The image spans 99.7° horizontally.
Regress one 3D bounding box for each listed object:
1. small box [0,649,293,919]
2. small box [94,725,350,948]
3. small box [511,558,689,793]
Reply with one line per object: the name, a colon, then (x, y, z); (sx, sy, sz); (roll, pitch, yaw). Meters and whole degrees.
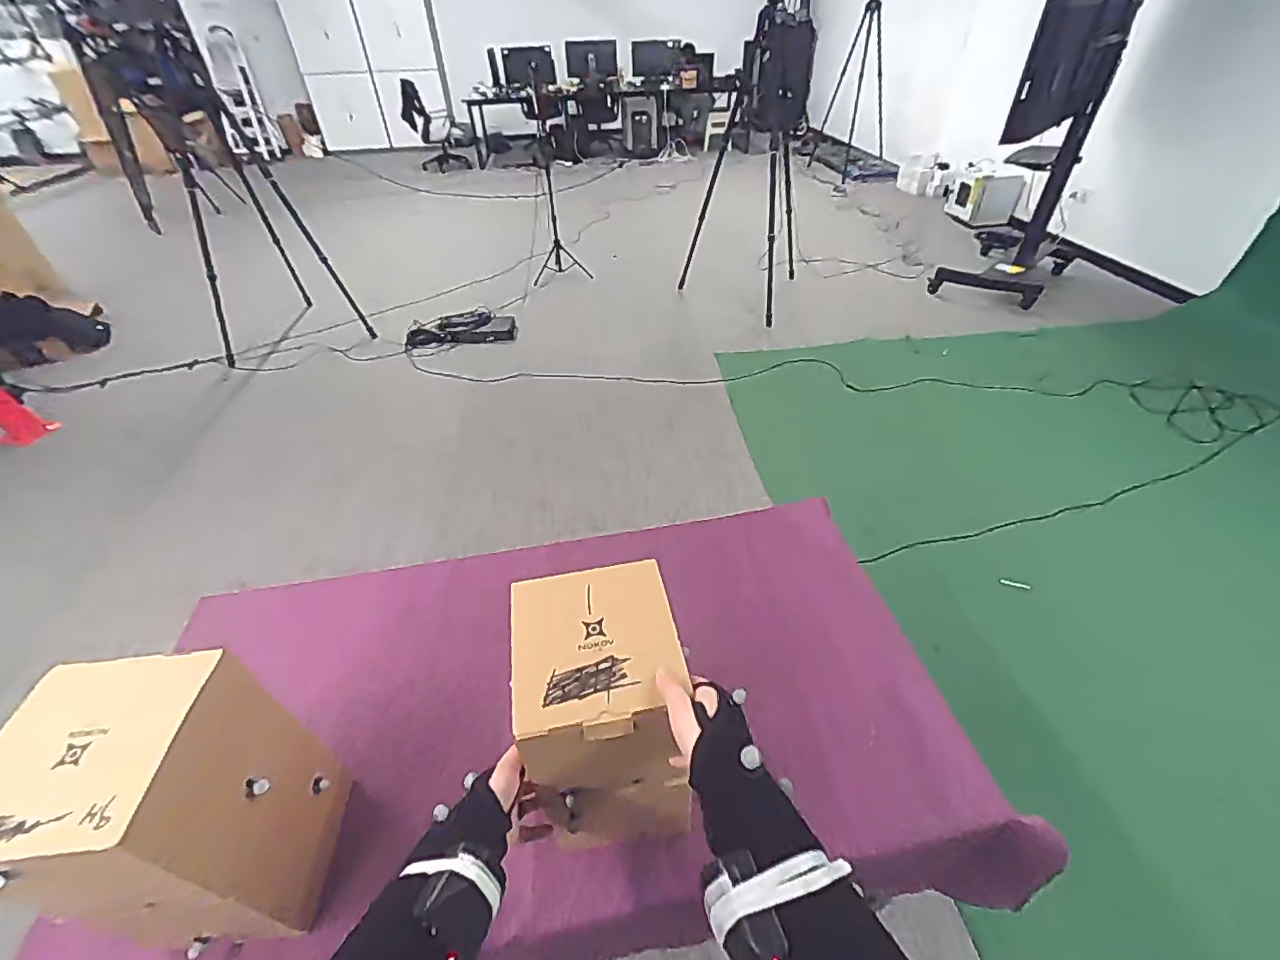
small box: (-0.482, 0.296, 0.533); (0.168, 0.176, 0.179); (-6, 40, -1)
small box: (-0.475, 0.420, 0.641); (0.168, 0.176, 0.179); (-6, 42, -2)
small box: (-0.043, 0.217, 0.595); (0.168, 0.176, 0.179); (-9, 40, -7)
